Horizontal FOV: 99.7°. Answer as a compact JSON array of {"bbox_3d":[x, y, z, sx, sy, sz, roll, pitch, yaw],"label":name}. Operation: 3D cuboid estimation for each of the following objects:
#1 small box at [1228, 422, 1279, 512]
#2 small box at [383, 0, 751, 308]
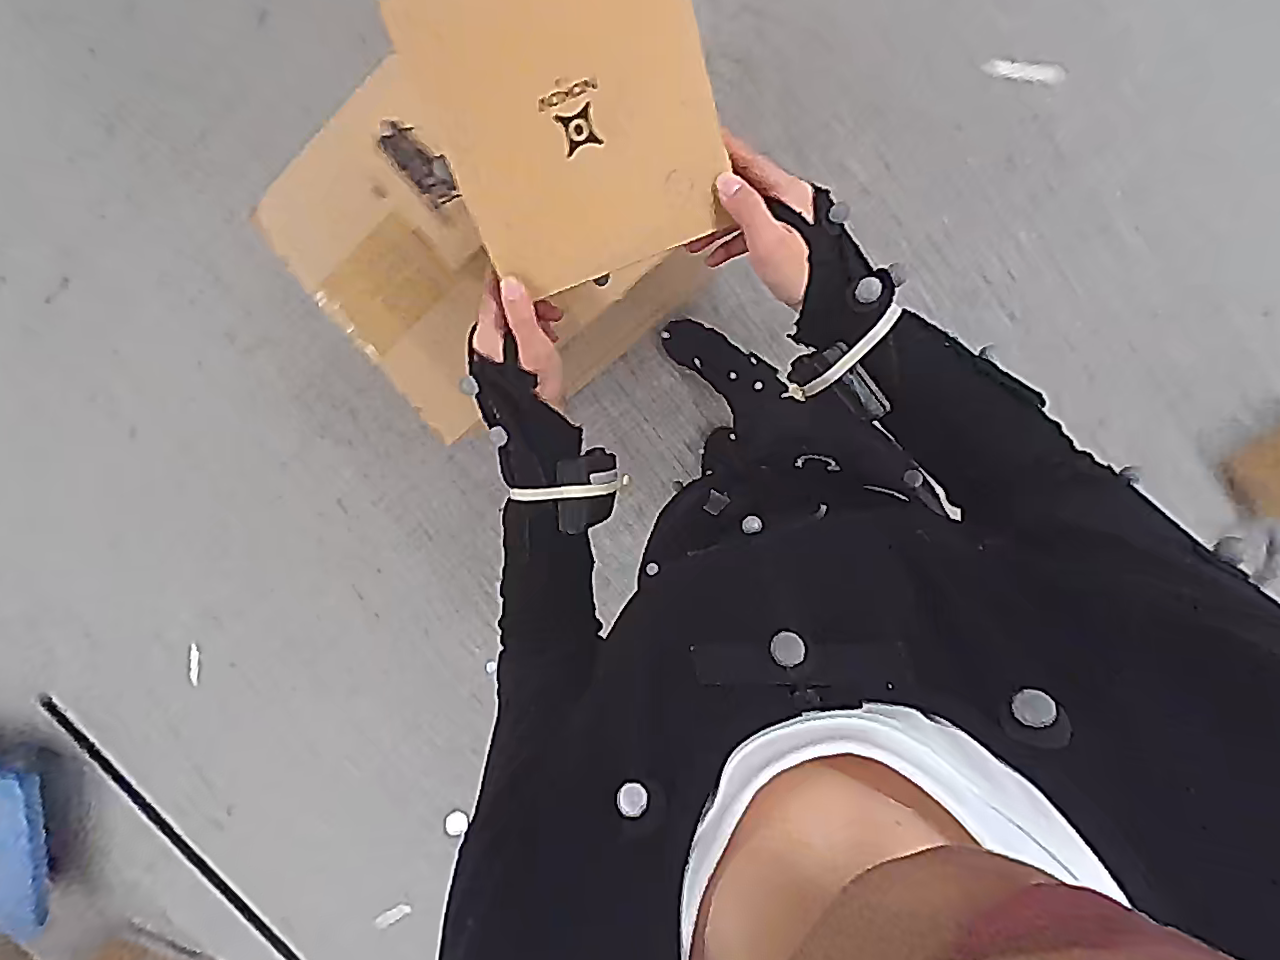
[{"bbox_3d":[1.447,-0.033,1.150,0.179,0.176,0.168,-35,94,11],"label":"small box"},{"bbox_3d":[-0.035,-0.246,0.380,0.168,0.176,0.179,-18,117,6],"label":"small box"}]
